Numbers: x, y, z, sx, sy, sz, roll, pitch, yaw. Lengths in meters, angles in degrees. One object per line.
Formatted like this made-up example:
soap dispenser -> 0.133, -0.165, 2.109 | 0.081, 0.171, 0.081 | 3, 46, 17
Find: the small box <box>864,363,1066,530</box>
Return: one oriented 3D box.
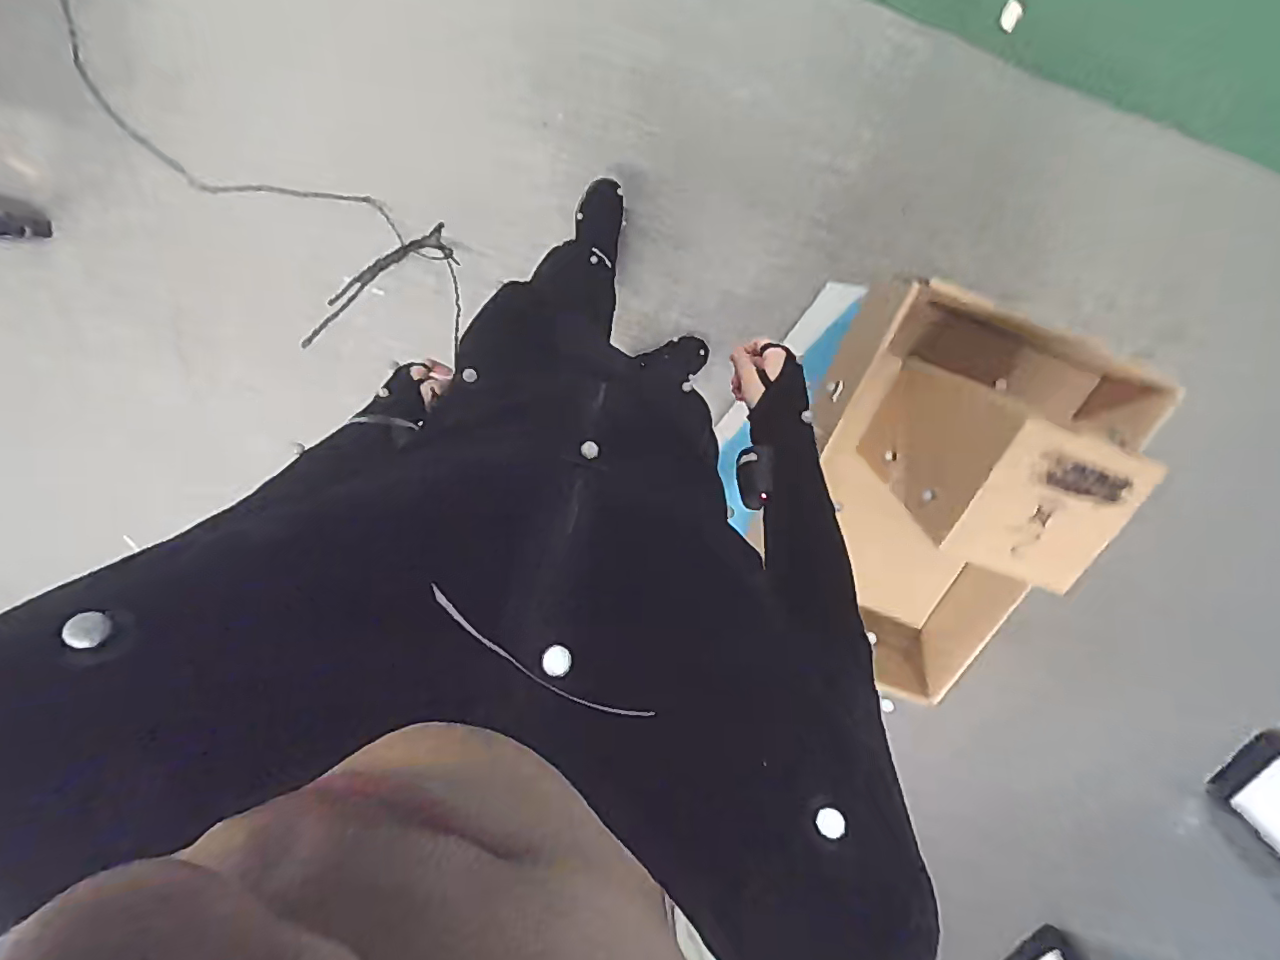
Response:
small box -> 0.467, -0.059, 0.815 | 0.168, 0.176, 0.179 | 20, 115, -3
